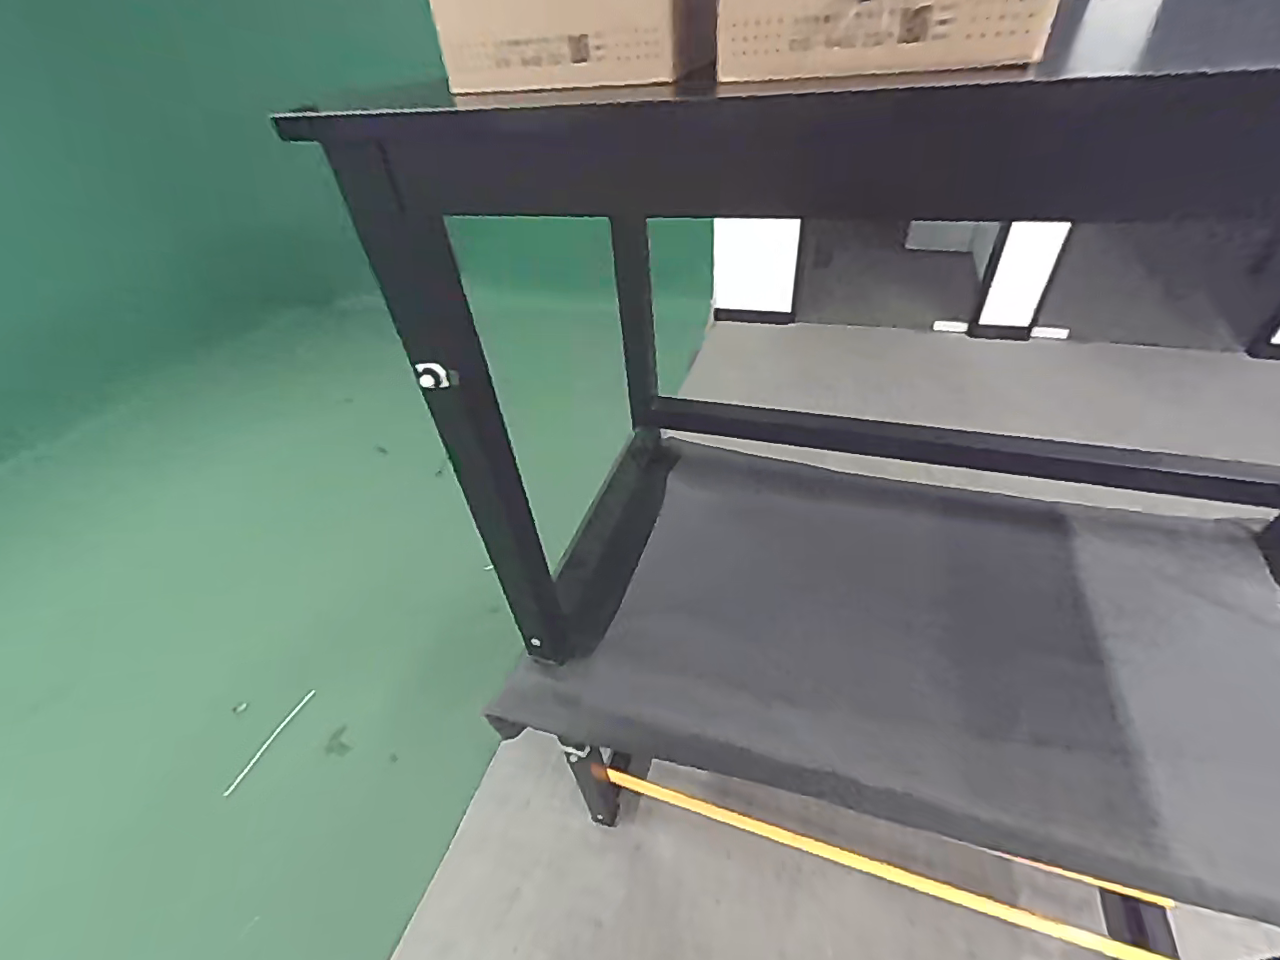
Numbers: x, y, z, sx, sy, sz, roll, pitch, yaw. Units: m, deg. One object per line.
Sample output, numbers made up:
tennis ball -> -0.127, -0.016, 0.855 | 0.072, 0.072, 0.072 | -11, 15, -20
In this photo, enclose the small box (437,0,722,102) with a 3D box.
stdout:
small box -> -0.038, -0.374, 0.377 | 0.168, 0.176, 0.179 | 10, 43, 17
